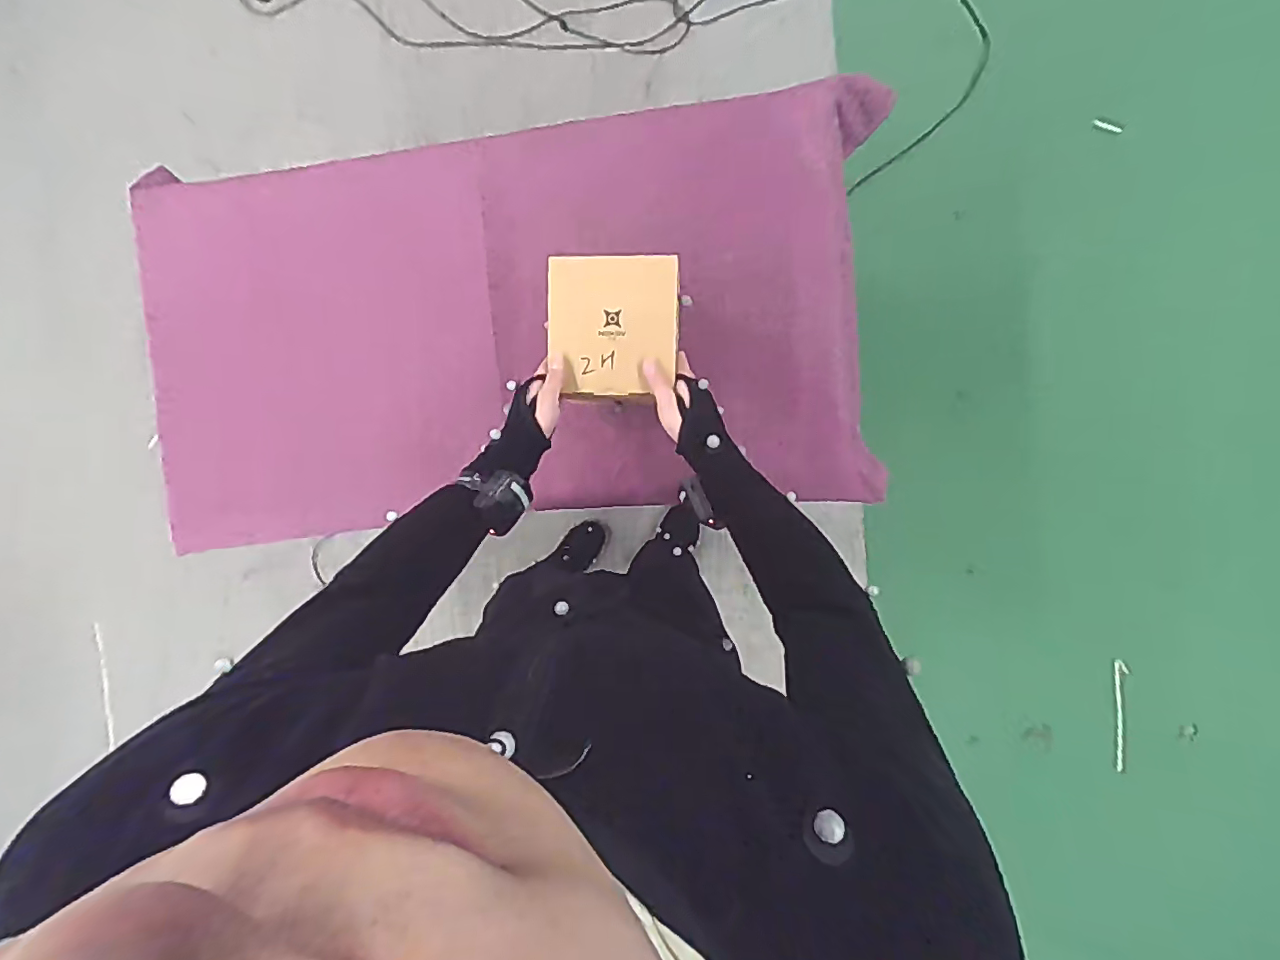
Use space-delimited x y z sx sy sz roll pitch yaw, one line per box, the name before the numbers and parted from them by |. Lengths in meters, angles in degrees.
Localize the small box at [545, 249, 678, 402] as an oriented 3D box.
small box | -0.032 -0.206 0.758 0.168 0.176 0.179 1 95 5
